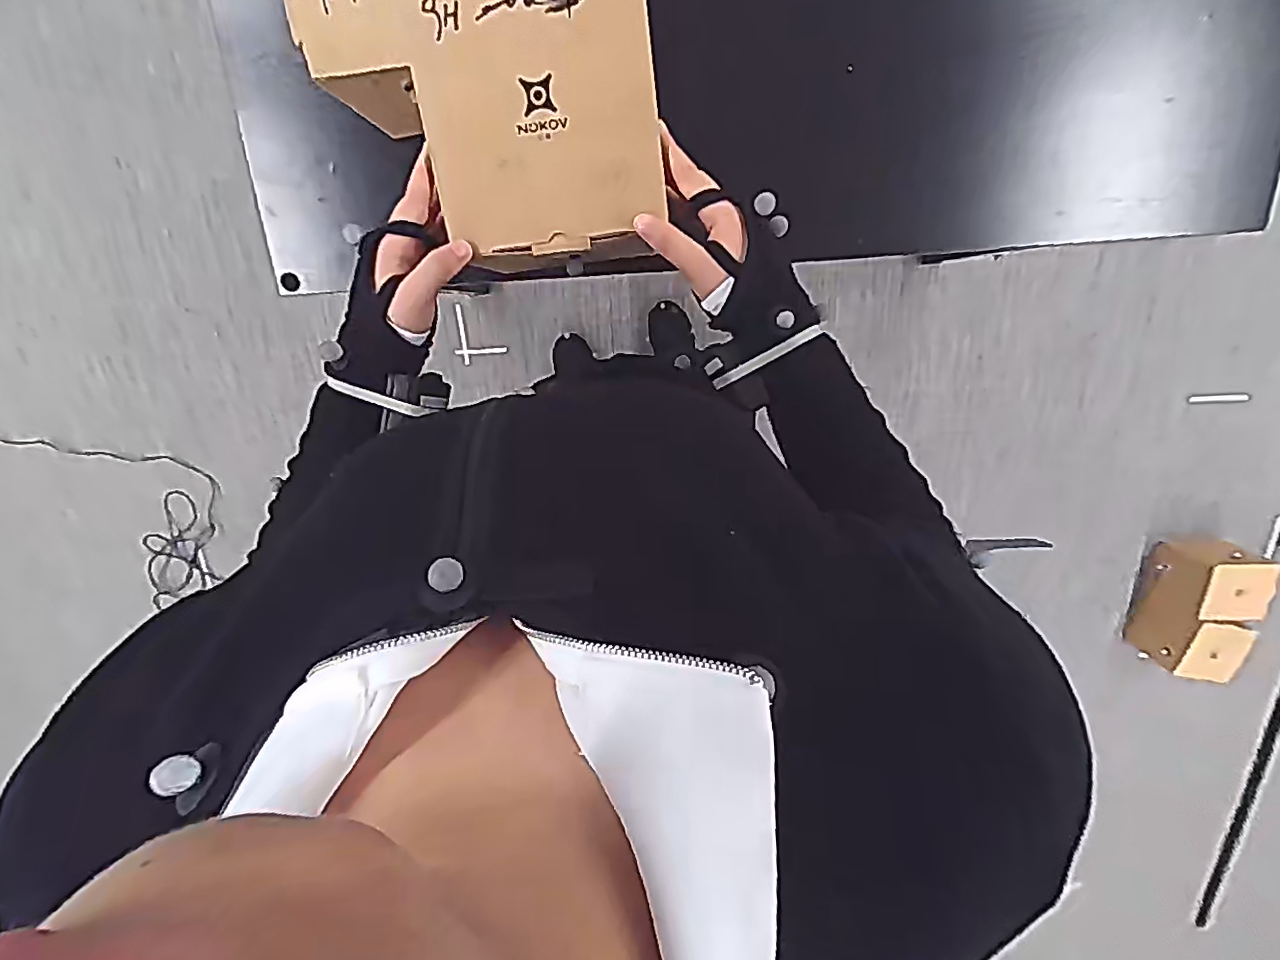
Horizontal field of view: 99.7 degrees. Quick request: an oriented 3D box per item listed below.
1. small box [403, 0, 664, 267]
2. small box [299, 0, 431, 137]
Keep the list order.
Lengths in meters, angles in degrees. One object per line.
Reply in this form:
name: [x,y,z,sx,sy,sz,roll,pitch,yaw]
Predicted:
small box: [-0.069,-0.283,0.463,0.168,0.176,0.179,-7,108,2]
small box: [-0.211,-0.464,0.534,0.179,0.176,0.168,-8,107,2]
